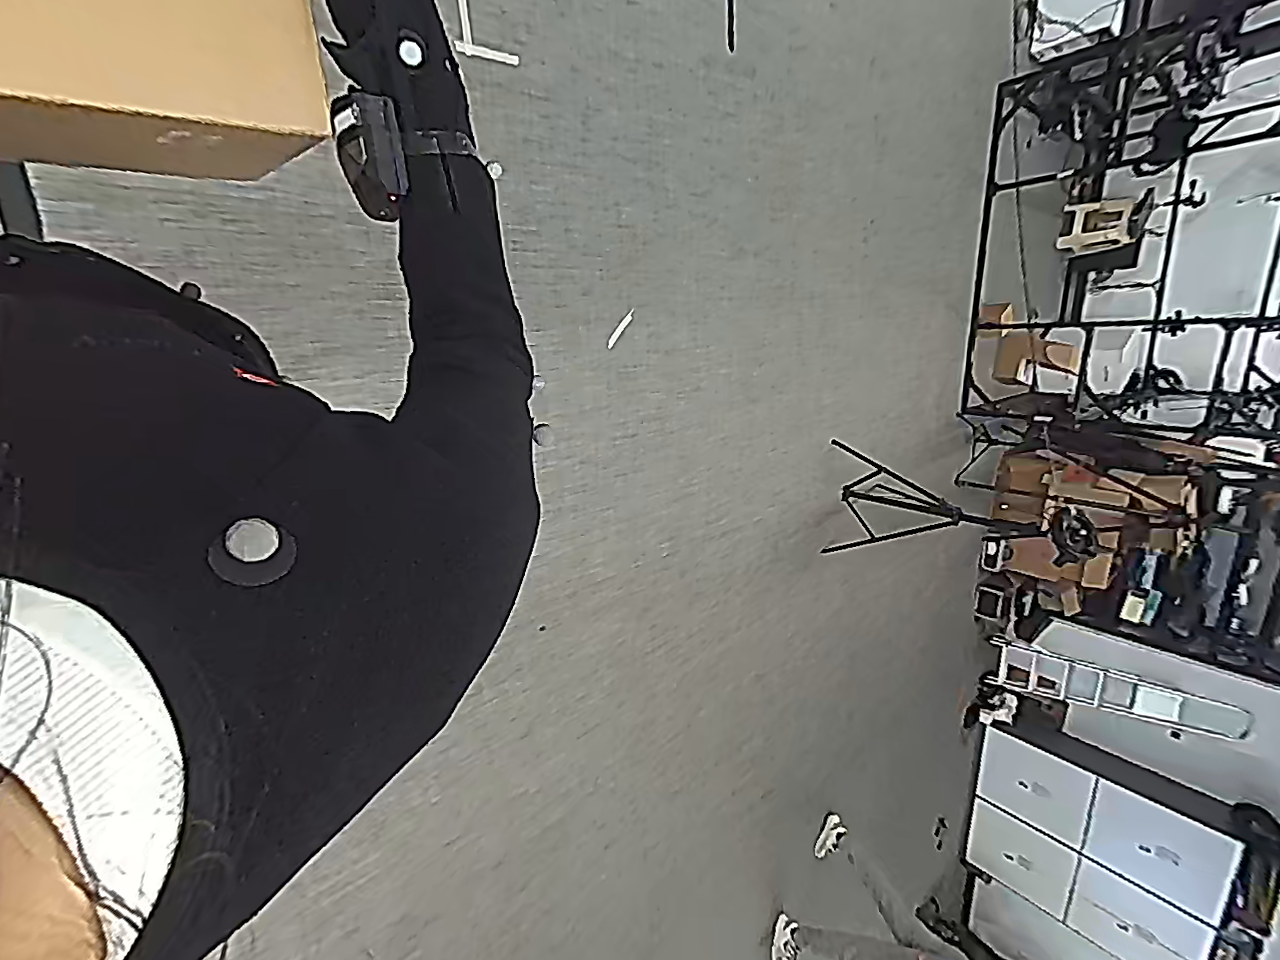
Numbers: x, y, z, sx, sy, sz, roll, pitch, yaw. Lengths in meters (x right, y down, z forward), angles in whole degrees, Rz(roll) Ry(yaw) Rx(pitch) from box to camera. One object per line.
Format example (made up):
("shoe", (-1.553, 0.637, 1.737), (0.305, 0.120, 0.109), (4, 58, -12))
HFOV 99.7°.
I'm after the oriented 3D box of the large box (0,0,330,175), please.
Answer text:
("large box", (-0.452, -0.361, 0.282), (0.408, 0.320, 0.320), (-19, 120, -38))
